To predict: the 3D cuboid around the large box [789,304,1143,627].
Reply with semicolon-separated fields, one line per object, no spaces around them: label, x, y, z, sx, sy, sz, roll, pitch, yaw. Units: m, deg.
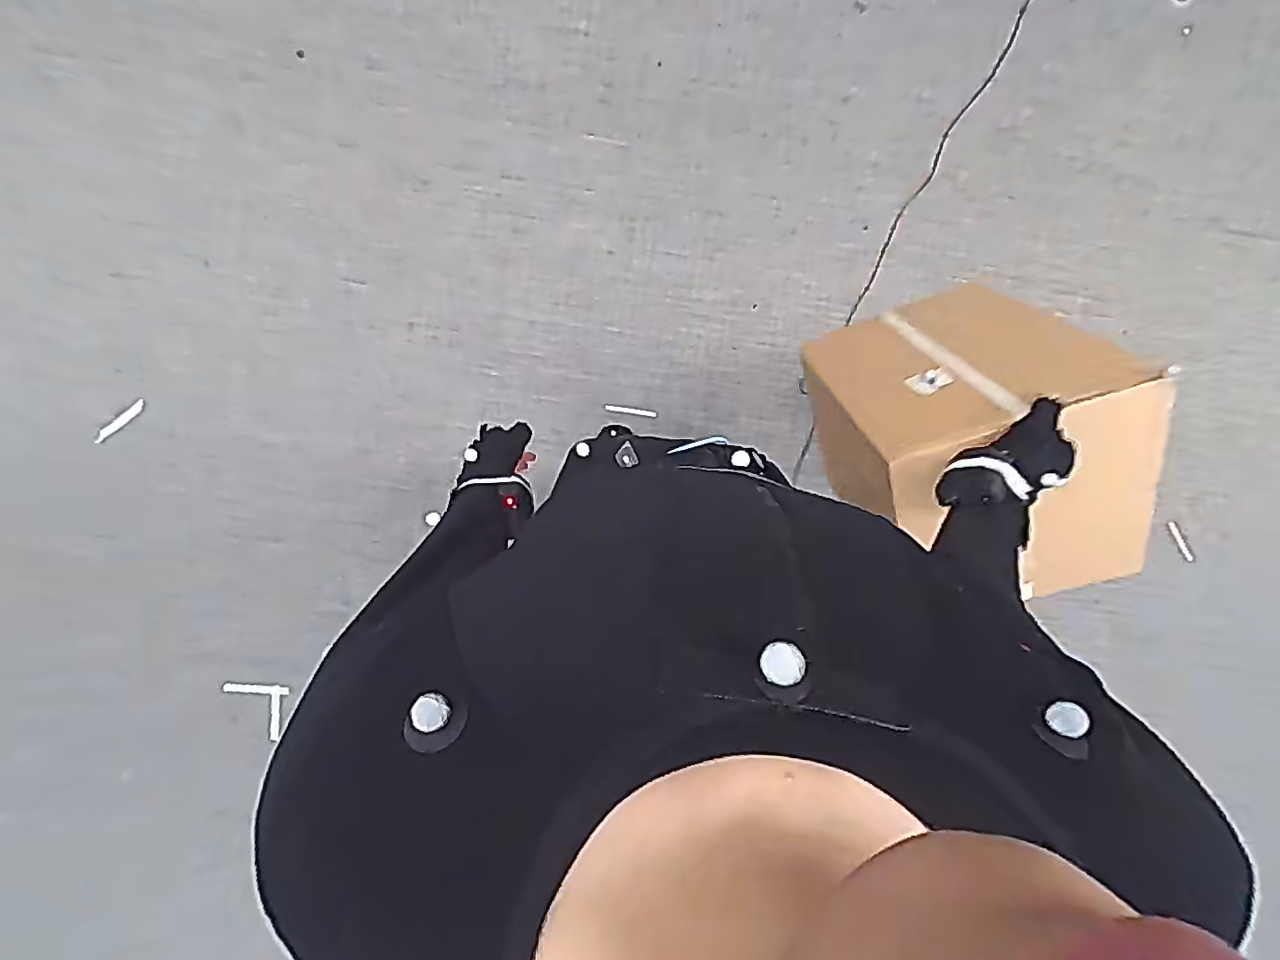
large box;0.473;-0.040;0.883;0.320;0.408;0.320;-18;122;9
